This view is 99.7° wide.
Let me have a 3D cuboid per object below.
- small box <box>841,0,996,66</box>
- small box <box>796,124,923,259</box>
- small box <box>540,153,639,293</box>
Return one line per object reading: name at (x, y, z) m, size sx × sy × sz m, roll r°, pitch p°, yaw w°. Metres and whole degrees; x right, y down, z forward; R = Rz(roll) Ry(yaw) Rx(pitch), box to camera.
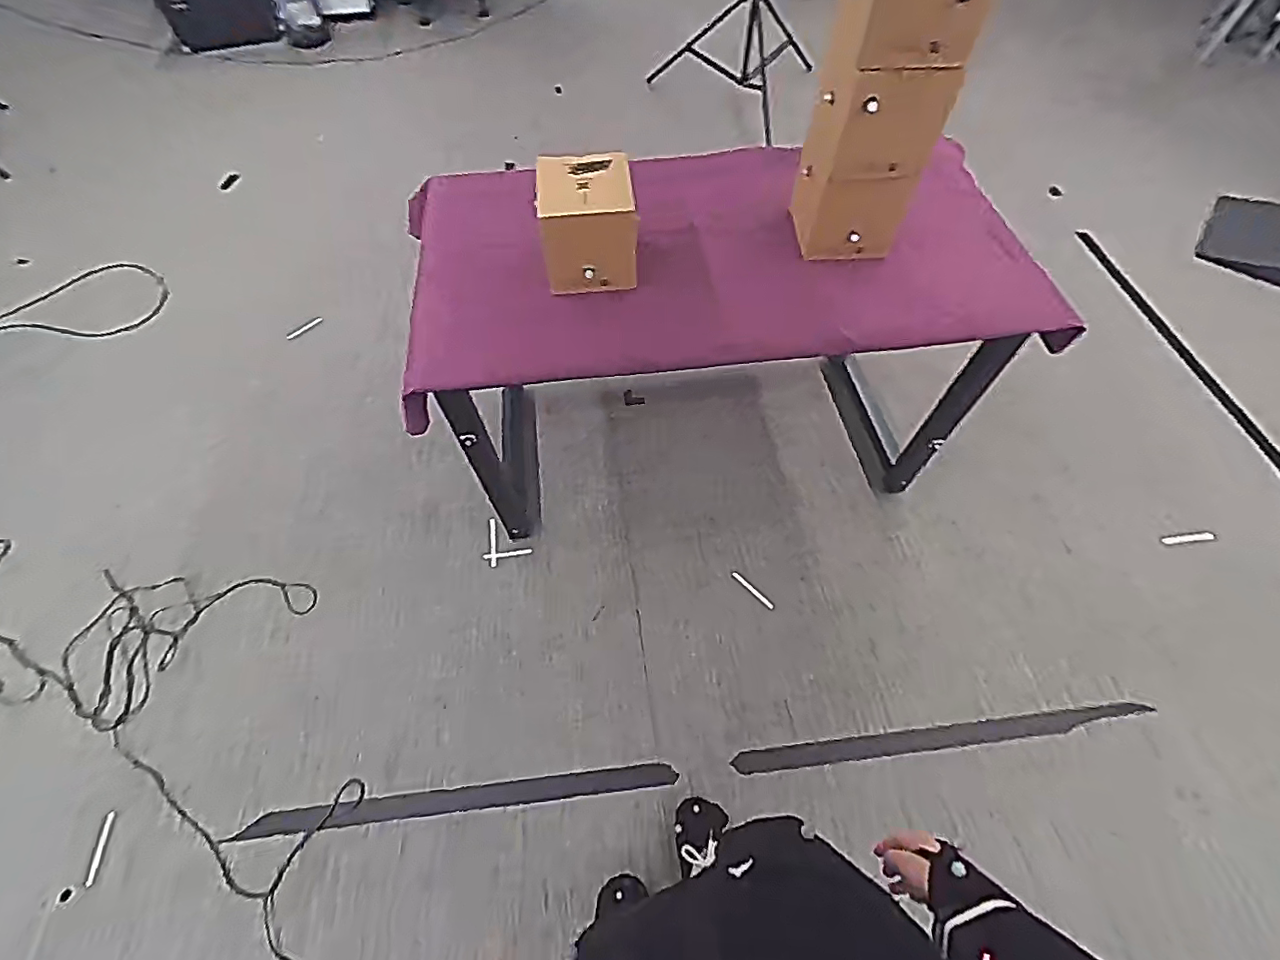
small box at (0.400, -0.713, 0.759) m, size 0.168 × 0.176 × 0.179 m, roll 0°, pitch 59°, yaw 0°
small box at (0.410, -0.554, 1.045) m, size 0.168 × 0.176 × 0.179 m, roll -2°, pitch 60°, yaw 1°
small box at (-0.091, -0.476, 1.010) m, size 0.168 × 0.176 × 0.179 m, roll -5°, pitch 61°, yaw -2°
